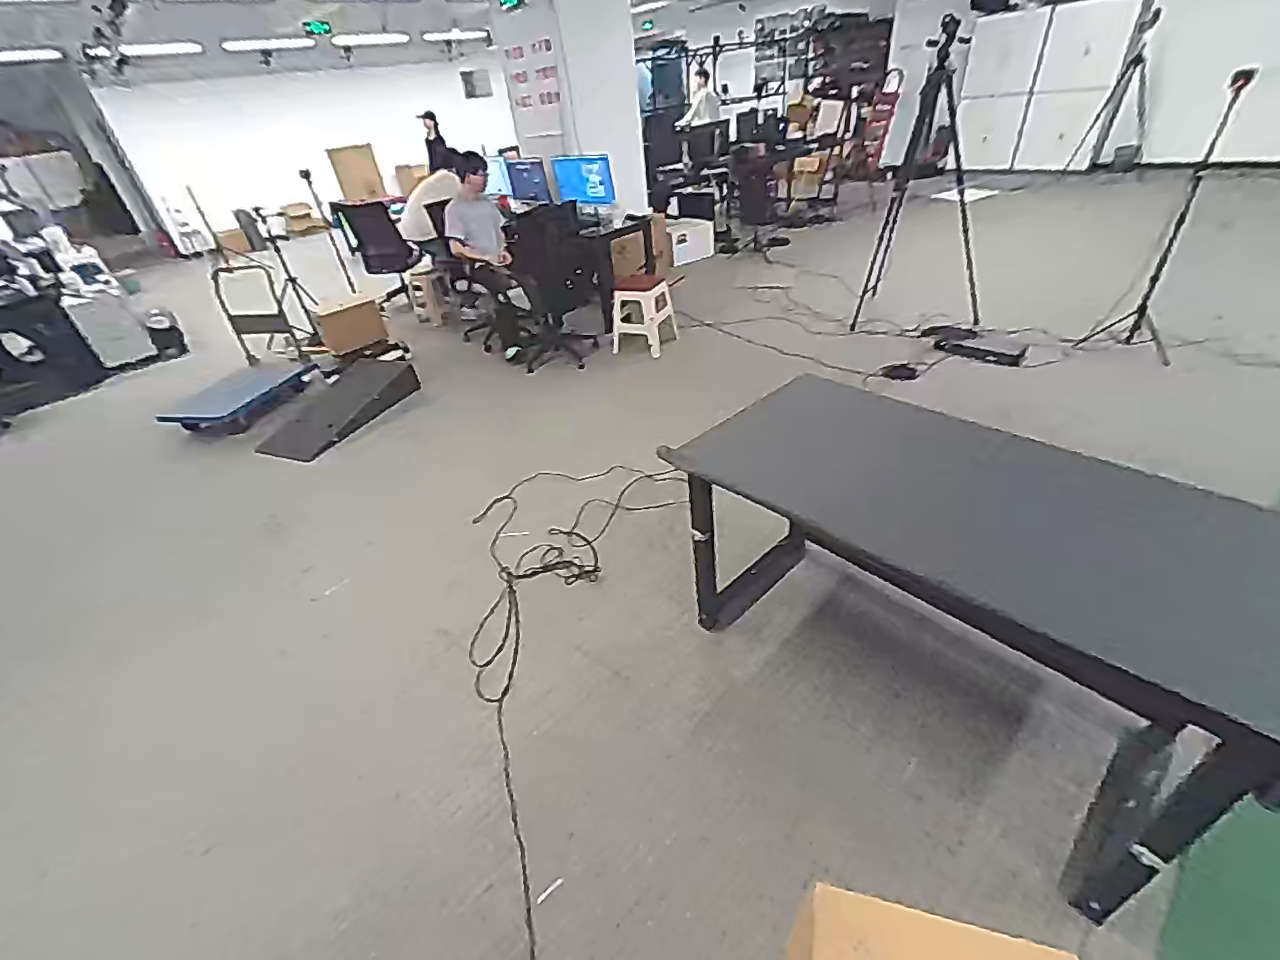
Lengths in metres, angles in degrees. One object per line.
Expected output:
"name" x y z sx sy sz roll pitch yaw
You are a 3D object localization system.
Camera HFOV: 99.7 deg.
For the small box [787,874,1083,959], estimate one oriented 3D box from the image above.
"small box" 0.185 0.404 0.349 0.168 0.176 0.179 7 39 13
